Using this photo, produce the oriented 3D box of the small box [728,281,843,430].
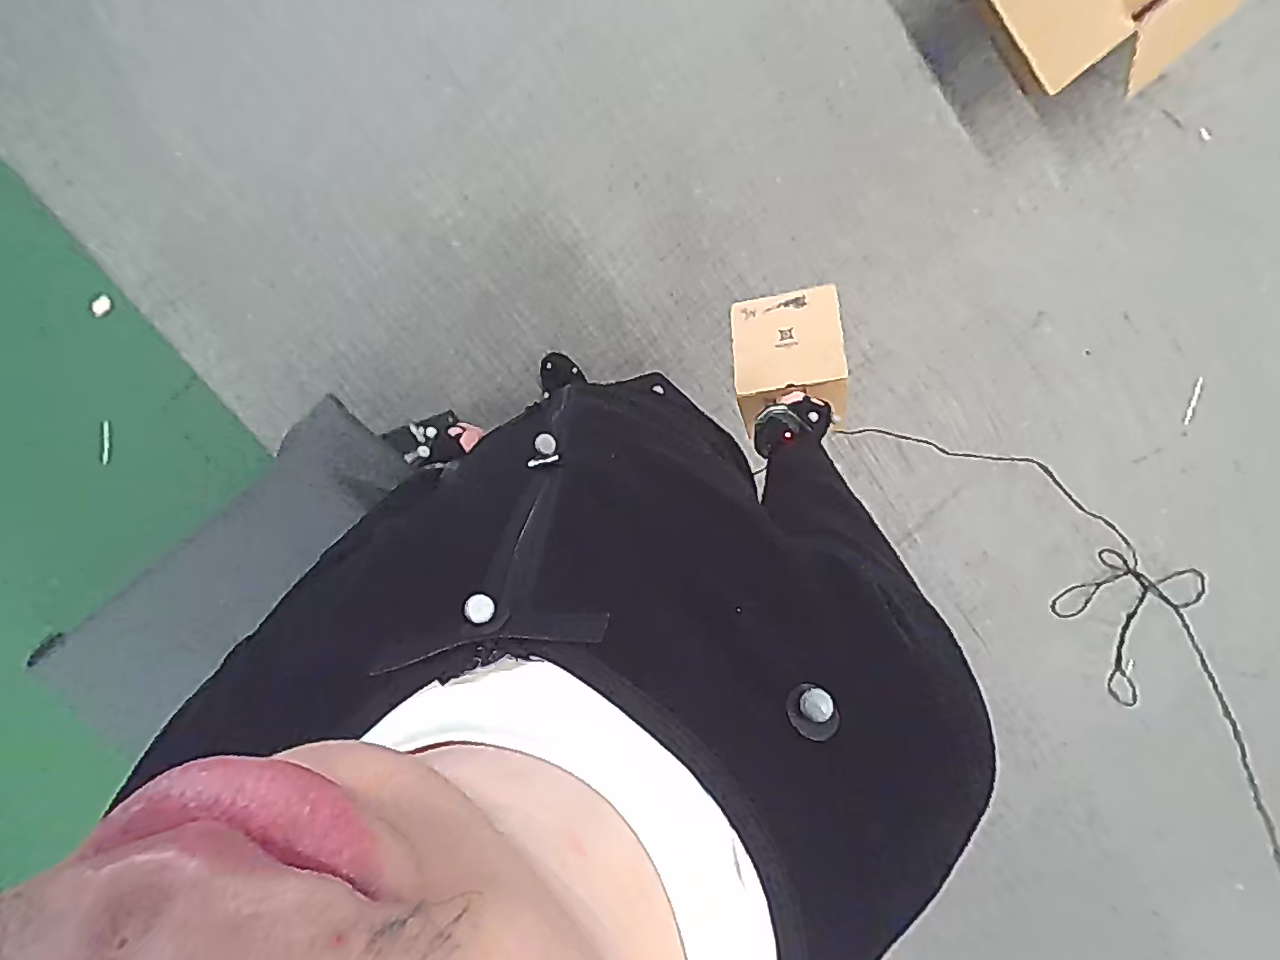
[{"bbox_3d":[0.245,-0.193,0.902,0.168,0.176,0.179,-6,70,17],"label":"small box"}]
